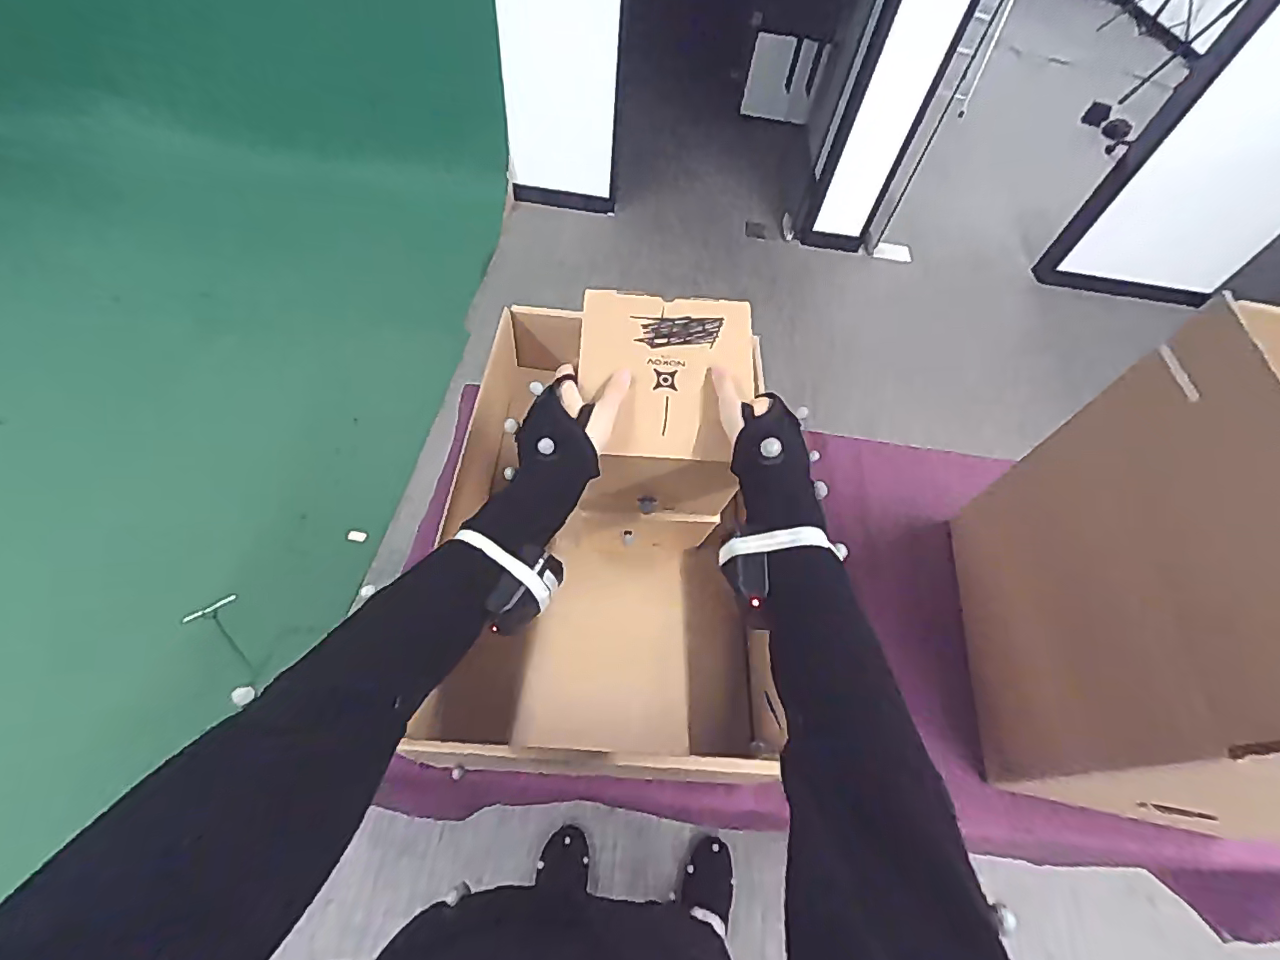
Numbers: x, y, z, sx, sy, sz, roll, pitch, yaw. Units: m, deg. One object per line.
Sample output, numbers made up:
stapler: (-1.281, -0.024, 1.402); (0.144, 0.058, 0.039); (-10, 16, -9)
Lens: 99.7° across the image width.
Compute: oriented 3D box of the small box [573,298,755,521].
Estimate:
small box: (0.019, -0.065, 0.578); (0.168, 0.176, 0.179); (3, 71, -3)

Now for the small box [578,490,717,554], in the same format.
small box: (0.008, -0.001, 0.730); (0.168, 0.176, 0.179); (2, 70, -3)
